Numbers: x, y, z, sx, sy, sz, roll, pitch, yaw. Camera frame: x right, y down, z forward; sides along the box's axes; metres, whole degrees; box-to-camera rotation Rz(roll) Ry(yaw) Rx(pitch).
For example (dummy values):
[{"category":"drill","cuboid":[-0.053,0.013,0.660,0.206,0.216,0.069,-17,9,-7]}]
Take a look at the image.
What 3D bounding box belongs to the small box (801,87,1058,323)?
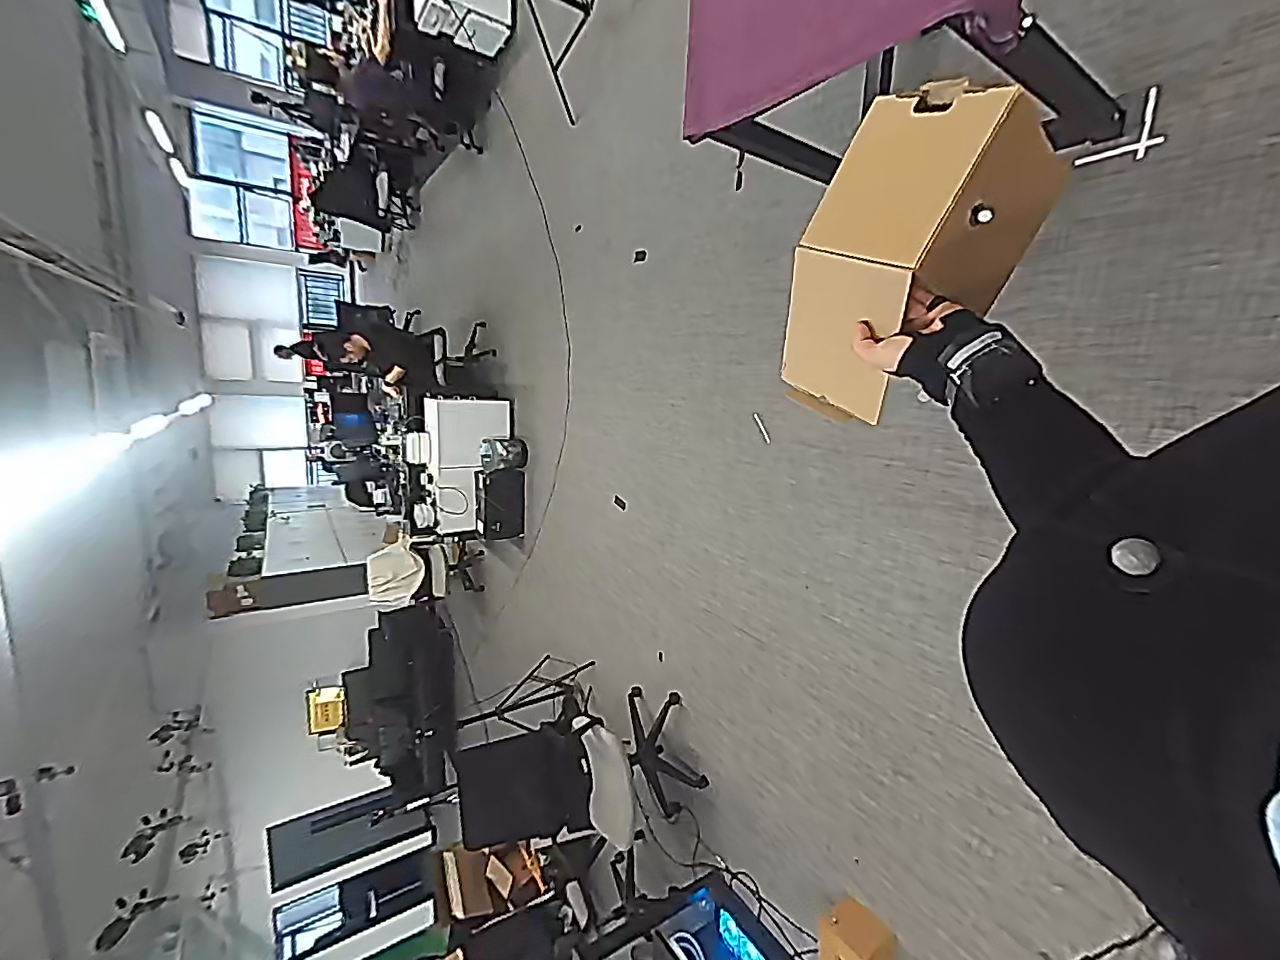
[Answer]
[{"category":"small box","cuboid":[0.330,-0.303,0.620,0.168,0.176,0.179,44,113,48]}]
